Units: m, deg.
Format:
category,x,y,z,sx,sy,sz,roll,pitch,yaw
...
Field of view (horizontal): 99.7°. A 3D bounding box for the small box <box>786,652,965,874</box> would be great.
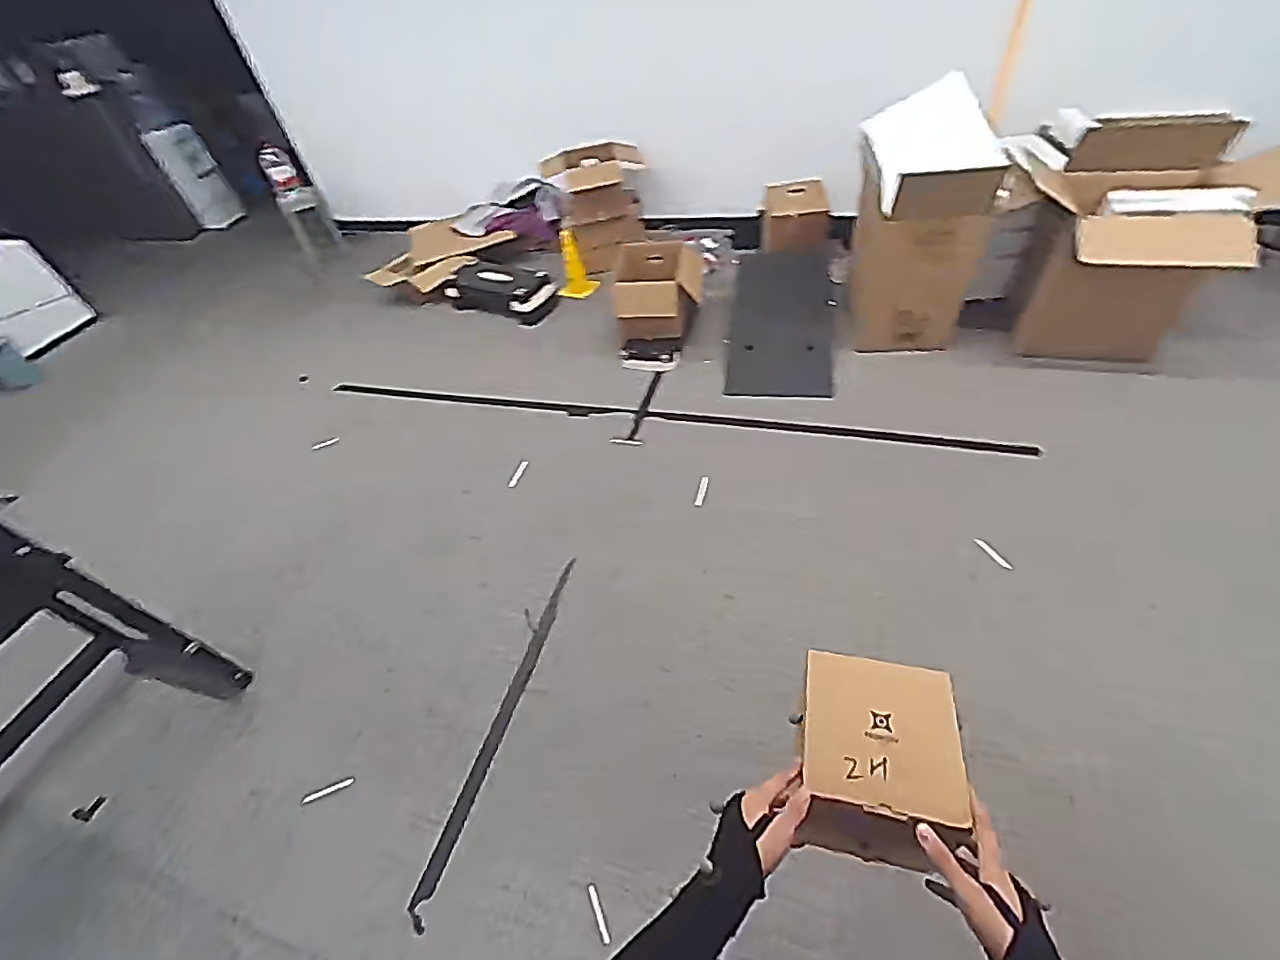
category,x,y,z,sx,sy,sz,roll,pitch,yaw
small box,0.270,0.343,0.661,0.168,0.176,0.179,4,43,15
